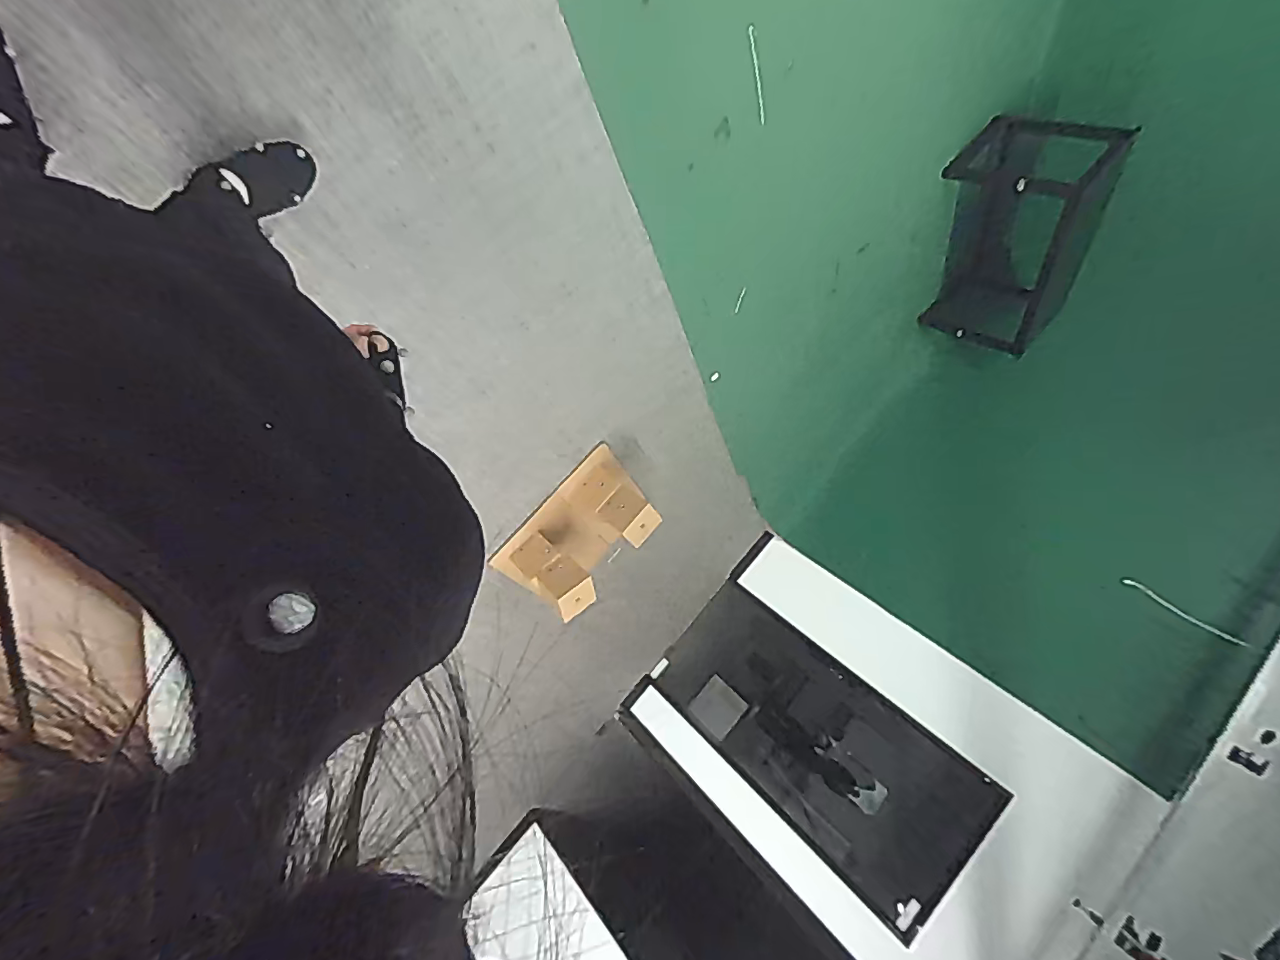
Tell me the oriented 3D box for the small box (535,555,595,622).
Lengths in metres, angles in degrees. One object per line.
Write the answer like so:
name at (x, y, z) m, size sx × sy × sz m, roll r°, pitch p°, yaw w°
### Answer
small box at (-0.307, 0.439, 2.212) m, size 0.168 × 0.176 × 0.179 m, roll -34°, pitch 142°, yaw -25°

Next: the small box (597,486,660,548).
small box at (-0.050, 0.151, 2.270) m, size 0.168 × 0.176 × 0.179 m, roll -48°, pitch 146°, yaw -8°

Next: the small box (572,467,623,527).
small box at (-0.165, 0.068, 2.357) m, size 0.168 × 0.176 × 0.179 m, roll -49°, pitch 147°, yaw -7°
